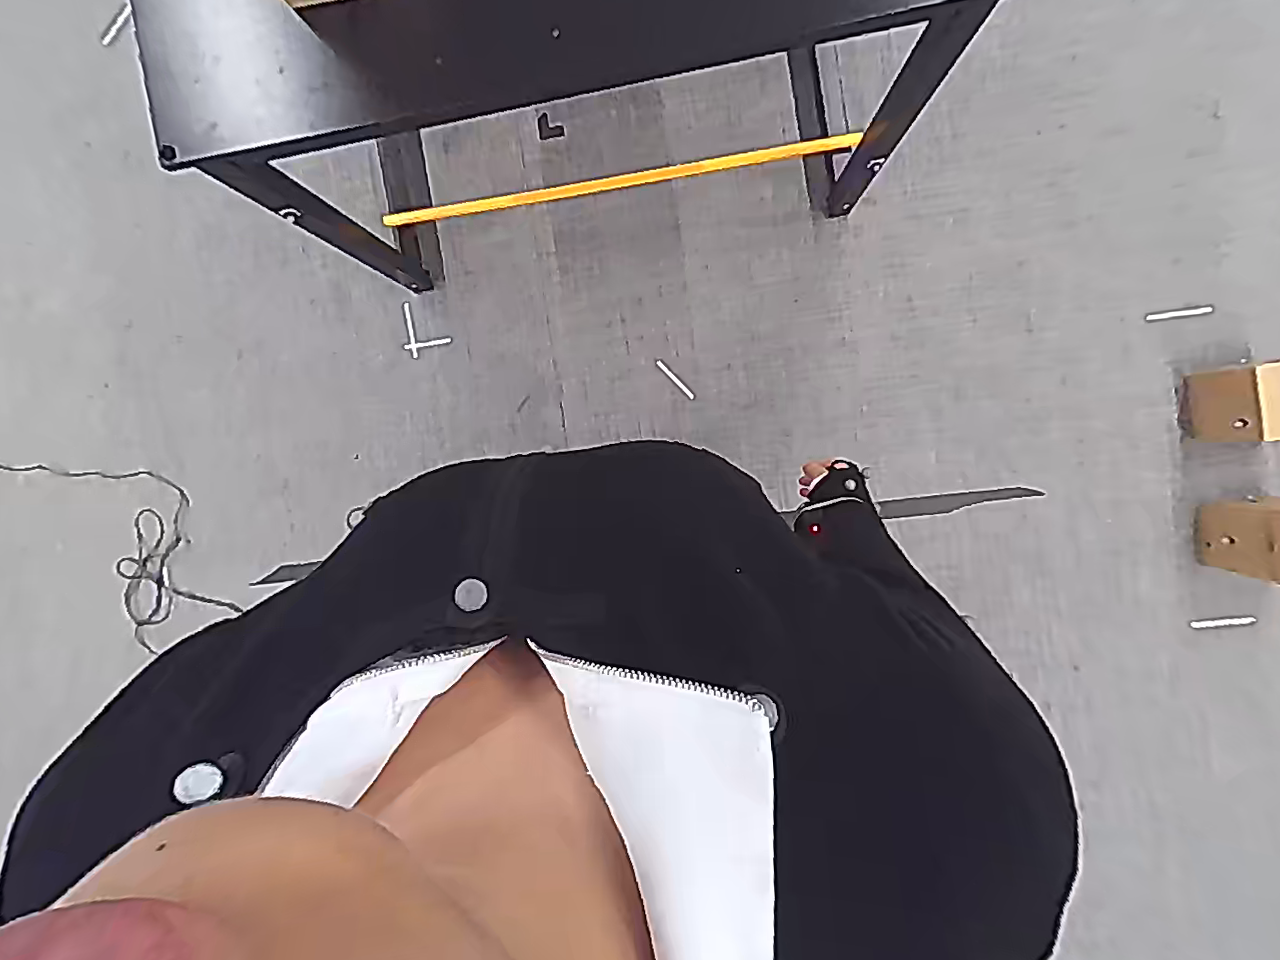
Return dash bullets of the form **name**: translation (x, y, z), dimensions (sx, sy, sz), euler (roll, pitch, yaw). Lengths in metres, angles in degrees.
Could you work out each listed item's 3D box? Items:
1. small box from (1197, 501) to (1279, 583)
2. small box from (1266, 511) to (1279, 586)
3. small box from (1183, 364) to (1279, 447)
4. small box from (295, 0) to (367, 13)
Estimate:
- **small box**: translation (1.510, 0.145, 1.308), dimensions (0.179, 0.176, 0.168), euler (-6, 94, 6)
- **small box**: translation (1.498, 0.152, 1.142), dimensions (0.168, 0.176, 0.179), euler (-7, 94, 5)
- **small box**: translation (1.459, -0.179, 1.287), dimensions (0.168, 0.176, 0.179), euler (-10, 93, 5)
- **small box**: translation (-0.417, -0.741, 0.664), dimensions (0.168, 0.176, 0.179), euler (-8, 94, 6)
